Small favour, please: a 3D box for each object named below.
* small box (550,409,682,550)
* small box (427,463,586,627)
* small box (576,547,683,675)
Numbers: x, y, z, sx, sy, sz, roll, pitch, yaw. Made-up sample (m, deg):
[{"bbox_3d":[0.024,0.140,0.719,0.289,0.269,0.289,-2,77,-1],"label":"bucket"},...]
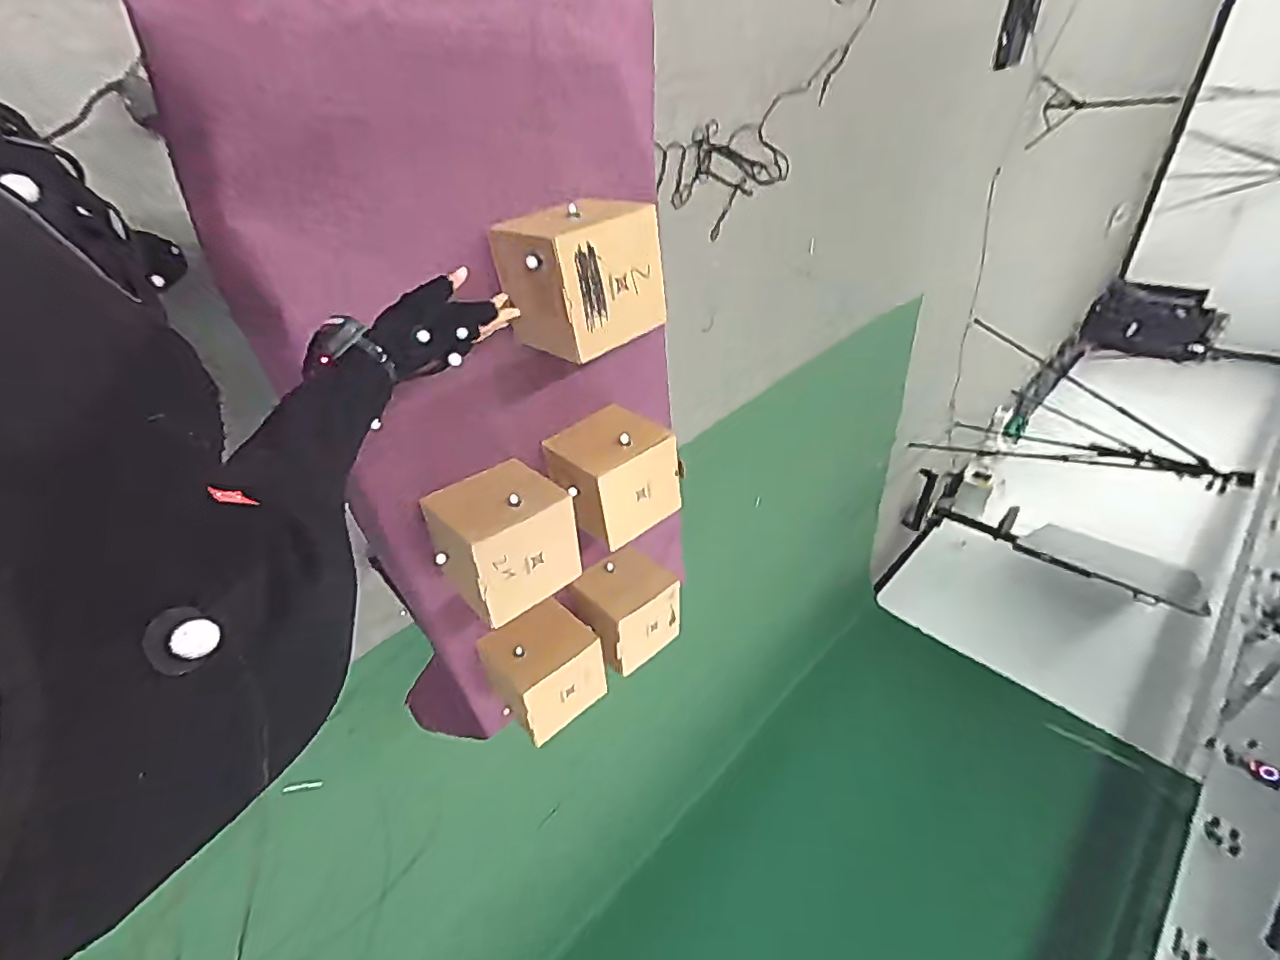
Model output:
[{"bbox_3d":[-0.047,-0.009,0.993,0.179,0.176,0.168,-33,133,-30],"label":"small box"},{"bbox_3d":[-0.212,0.094,0.873,0.179,0.176,0.168,-28,130,-34],"label":"small box"},{"bbox_3d":[-0.027,0.277,1.176,0.179,0.176,0.168,-26,129,-34],"label":"small box"}]
